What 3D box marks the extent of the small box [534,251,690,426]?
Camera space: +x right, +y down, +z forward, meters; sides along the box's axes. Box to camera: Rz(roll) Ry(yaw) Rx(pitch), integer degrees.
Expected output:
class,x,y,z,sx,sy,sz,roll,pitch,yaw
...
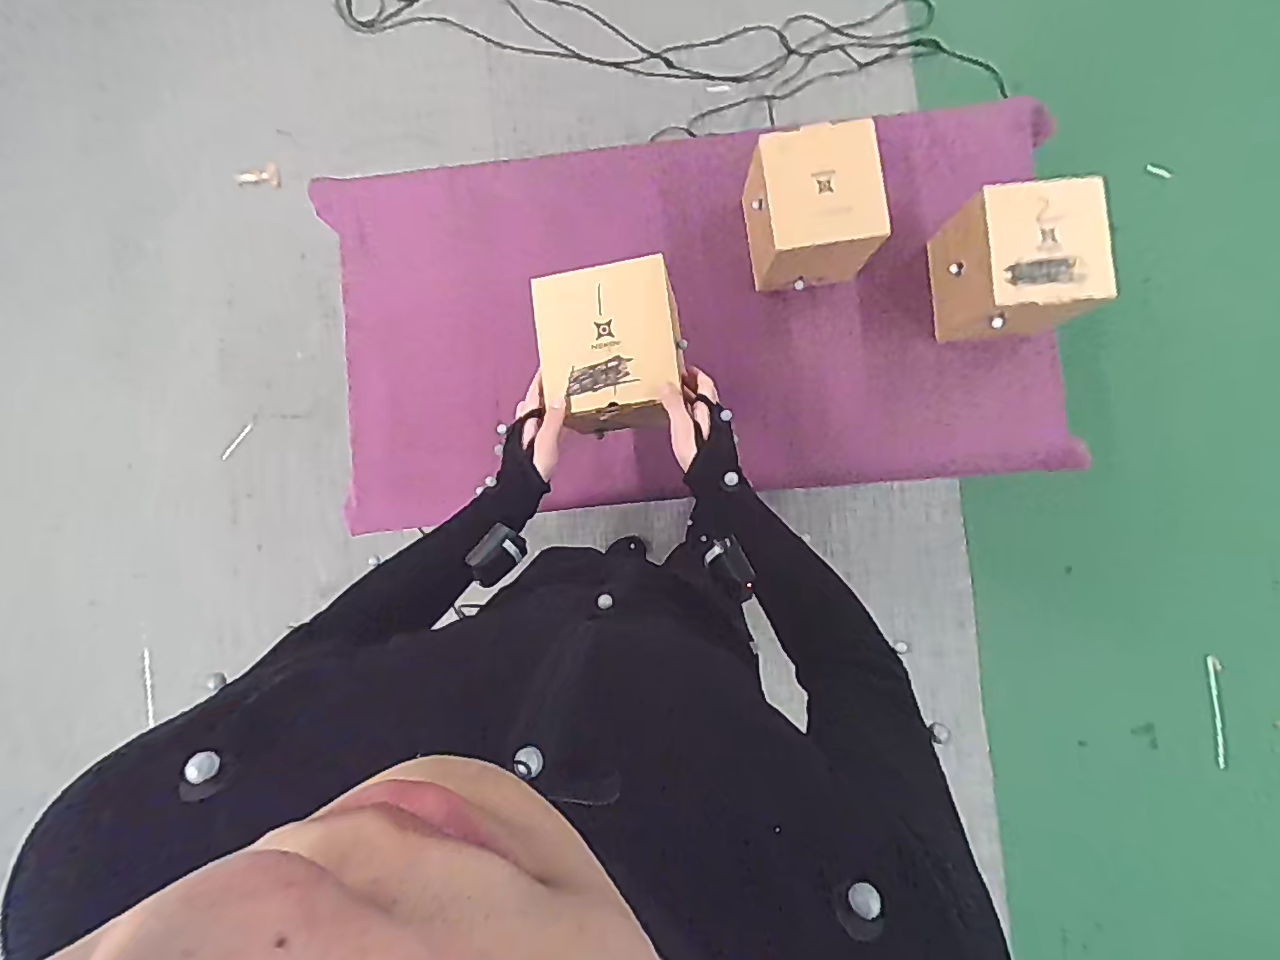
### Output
class,x,y,z,sx,sy,sz,roll,pitch,yaw
small box,-0.028,-0.171,0.716,0.168,0.176,0.179,-7,86,8

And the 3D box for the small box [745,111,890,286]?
class,x,y,z,sx,sy,sz,roll,pitch,yaw
small box,0.265,-0.429,0.849,0.168,0.176,0.179,-7,88,2
